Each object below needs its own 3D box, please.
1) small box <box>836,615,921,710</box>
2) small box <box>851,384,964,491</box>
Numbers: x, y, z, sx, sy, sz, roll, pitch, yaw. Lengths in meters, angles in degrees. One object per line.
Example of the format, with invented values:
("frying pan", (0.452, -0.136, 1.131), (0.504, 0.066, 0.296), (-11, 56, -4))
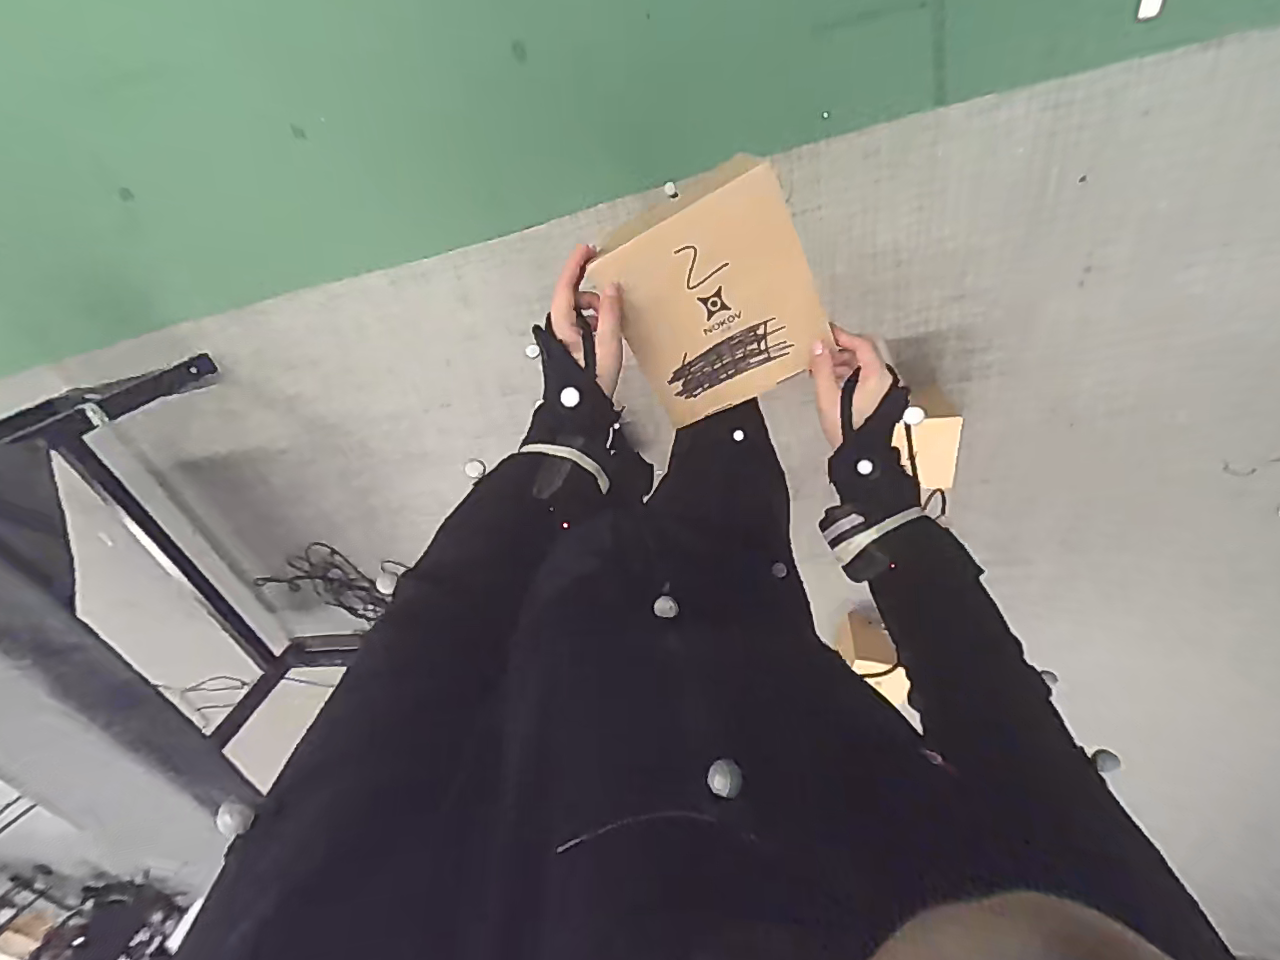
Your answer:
("small box", (0.658, 0.509, 1.517), (0.168, 0.176, 0.179), (7, 124, 6))
("small box", (0.550, -0.093, 1.136), (0.179, 0.176, 0.168), (-3, 123, 15))
